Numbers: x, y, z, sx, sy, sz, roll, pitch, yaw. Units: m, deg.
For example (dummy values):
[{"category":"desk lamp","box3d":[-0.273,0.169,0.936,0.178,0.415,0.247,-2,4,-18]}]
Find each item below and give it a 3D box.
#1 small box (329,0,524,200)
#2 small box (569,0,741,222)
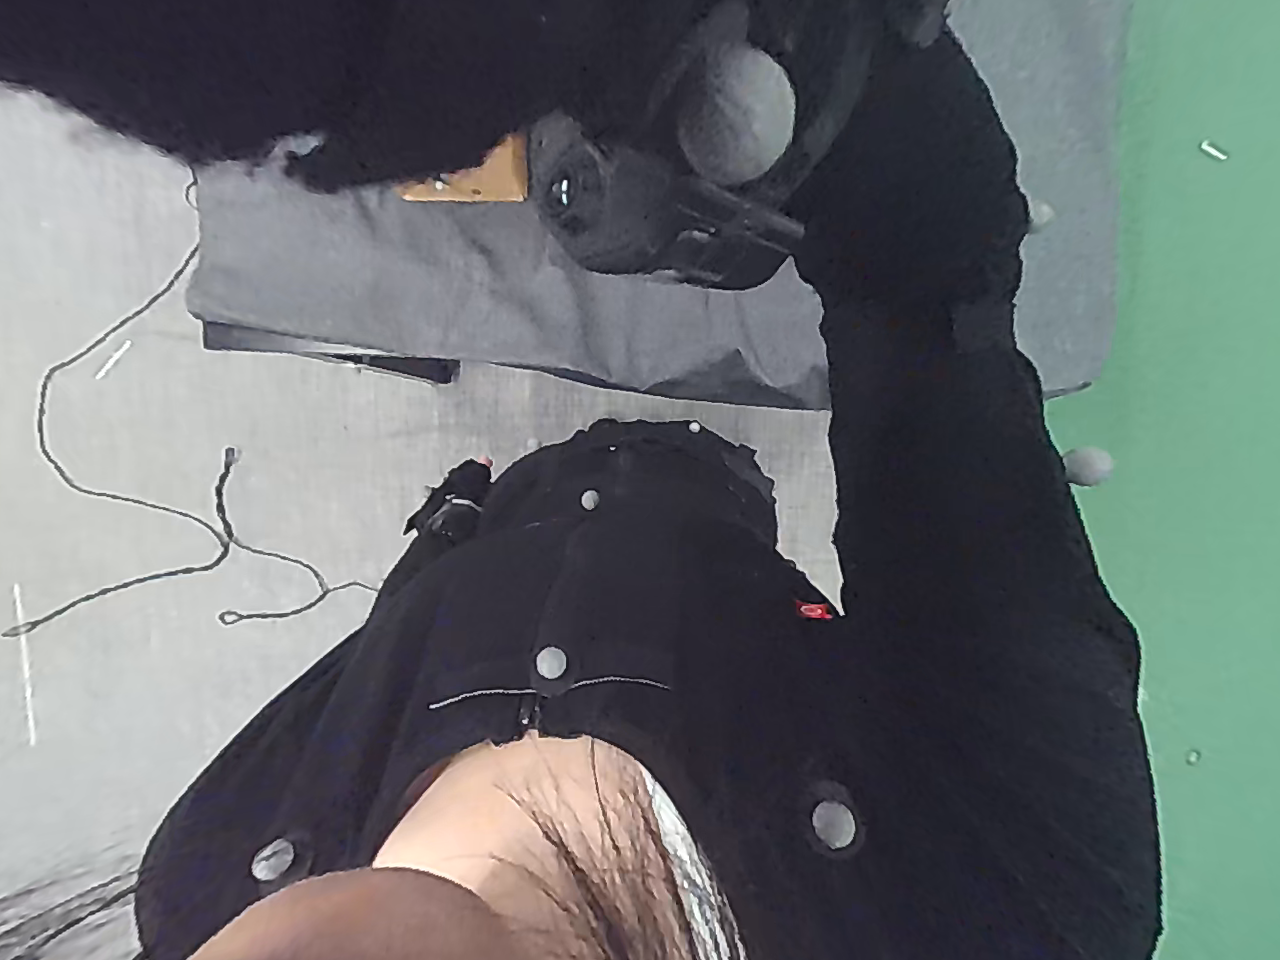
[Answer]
[{"category":"small box","box3d":[-0.234,-0.454,0.629,0.168,0.176,0.179,0,96,0]},{"category":"small box","box3d":[0.013,-0.428,0.630,0.168,0.176,0.179,4,96,0]}]
